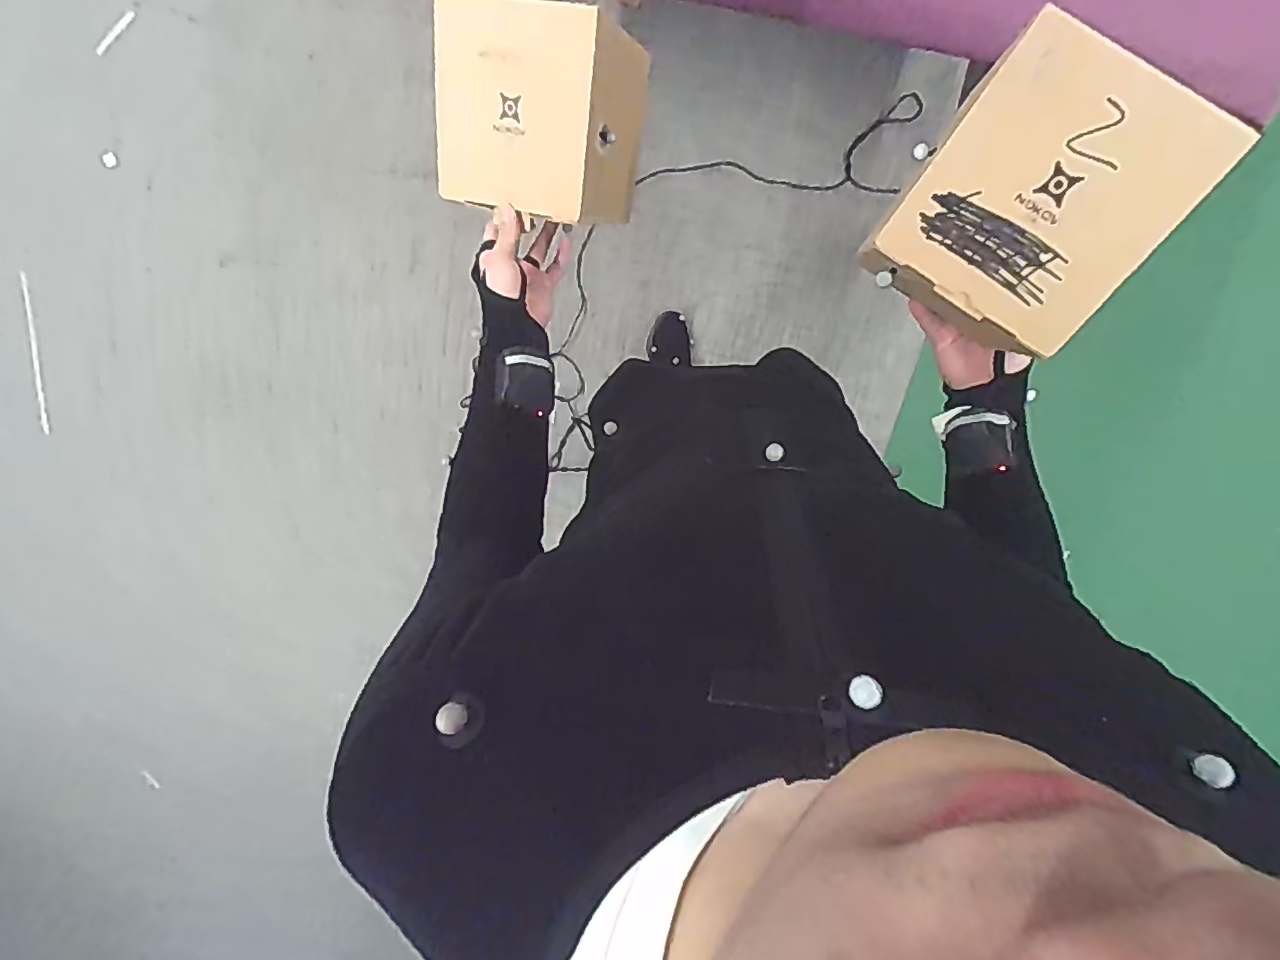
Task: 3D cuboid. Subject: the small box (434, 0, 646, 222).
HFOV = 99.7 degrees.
[{"bbox_3d":[-0.102,-0.391,0.589,0.168,0.176,0.179,16,118,11],"label":"small box"}]
